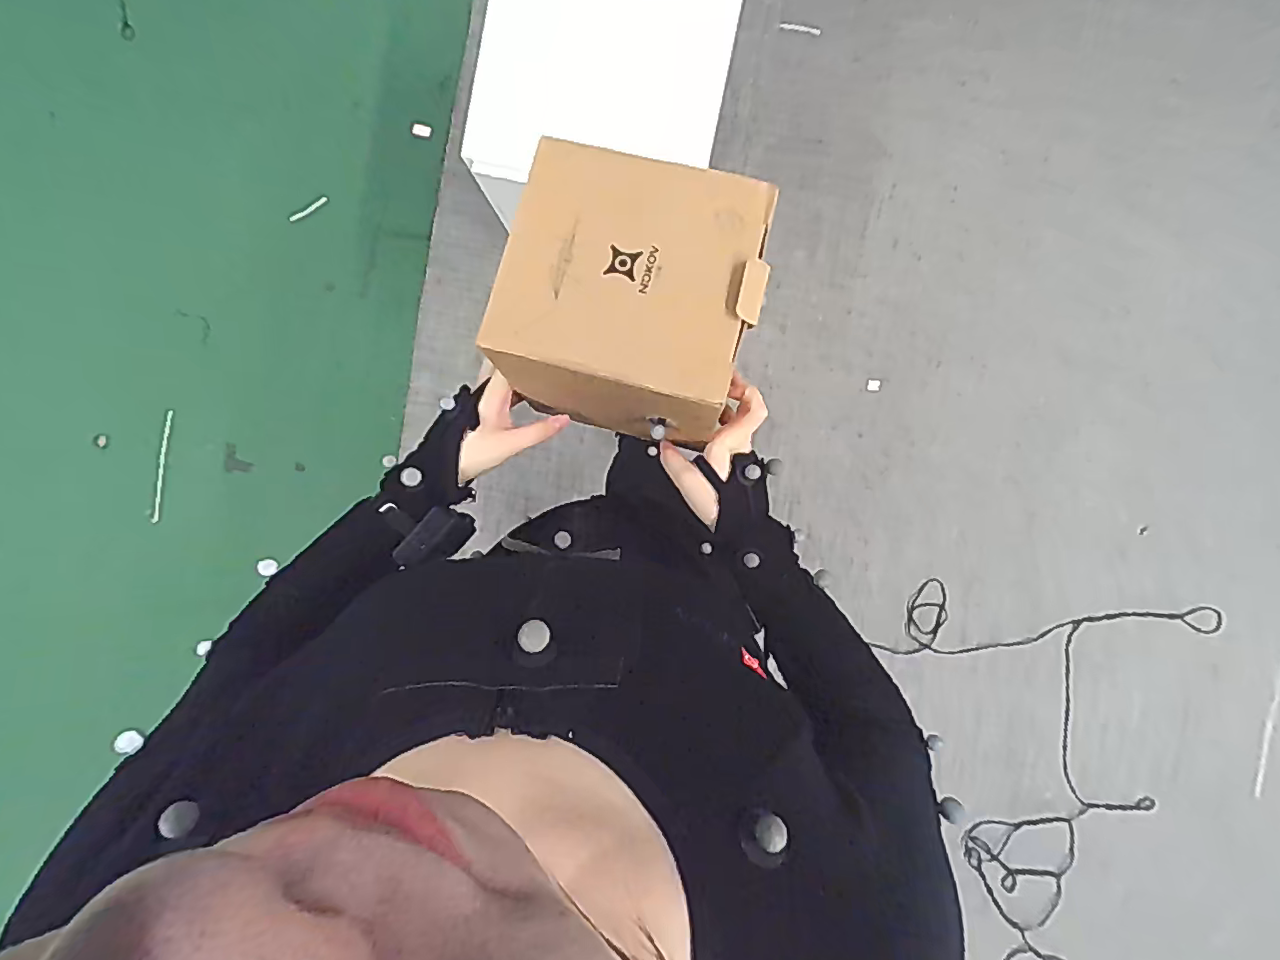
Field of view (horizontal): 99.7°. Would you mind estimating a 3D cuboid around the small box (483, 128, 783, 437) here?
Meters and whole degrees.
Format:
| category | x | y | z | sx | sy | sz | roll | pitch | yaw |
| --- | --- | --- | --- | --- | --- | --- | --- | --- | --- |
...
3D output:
| category | x | y | z | sx | sy | sz | roll | pitch | yaw |
| --- | --- | --- | --- | --- | --- | --- | --- | --- | --- |
| small box | 0.000 | -0.142 | 0.449 | 0.179 | 0.176 | 0.168 | 14 | 83 | 5 |
